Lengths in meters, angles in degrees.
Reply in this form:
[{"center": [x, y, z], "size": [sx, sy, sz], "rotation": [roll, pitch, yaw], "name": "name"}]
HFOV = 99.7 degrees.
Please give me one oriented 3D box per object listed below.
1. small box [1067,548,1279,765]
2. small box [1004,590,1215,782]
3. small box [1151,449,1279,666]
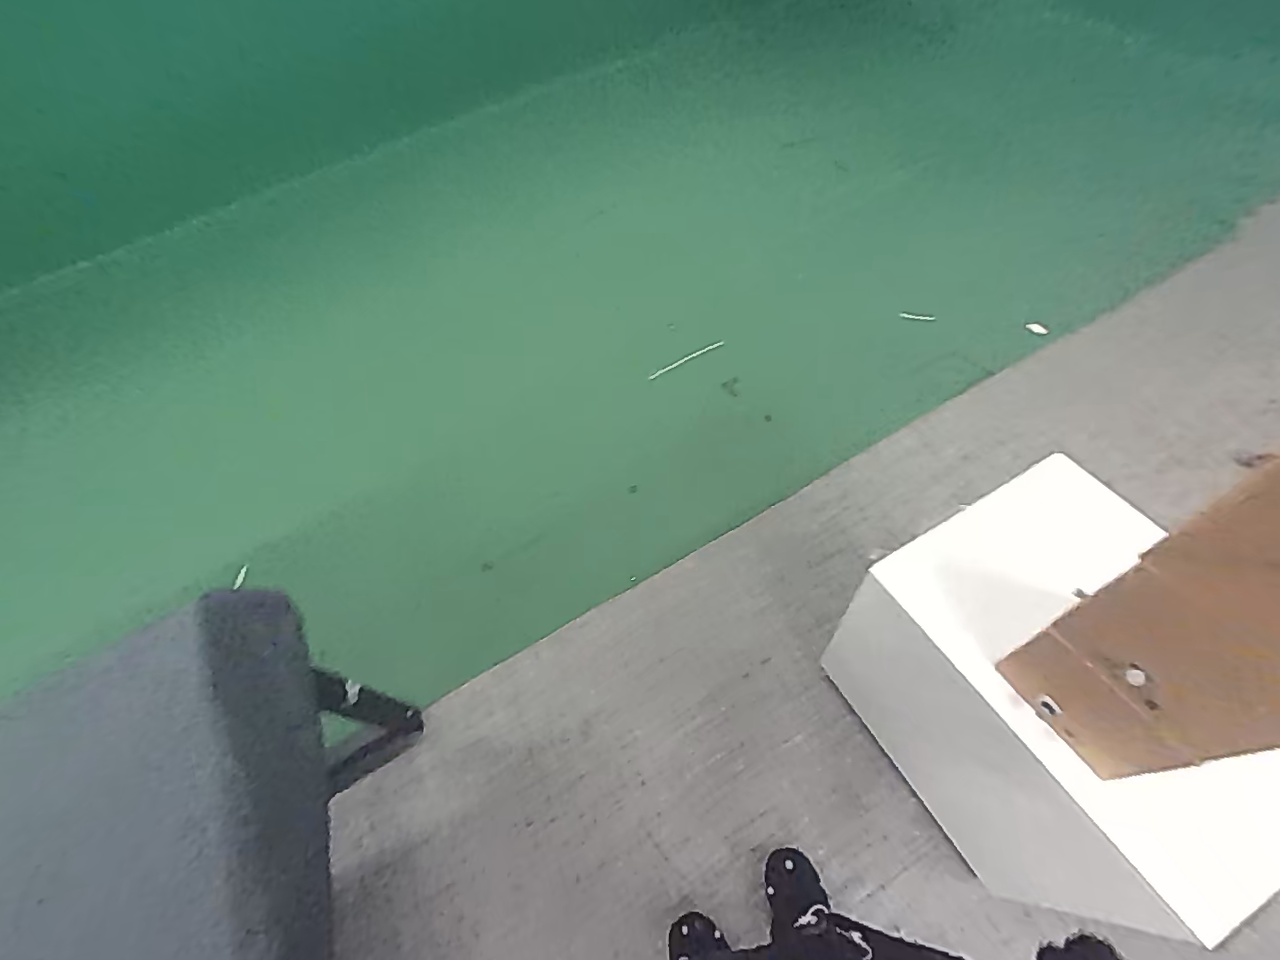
[{"center": [0.558, 0.133, 0.501], "size": [0.179, 0.176, 0.168], "rotation": [-30, 57, -12], "name": "small box"}, {"center": [0.580, 0.225, 0.635], "size": [0.179, 0.176, 0.168], "rotation": [-30, 56, -9], "name": "small box"}, {"center": [0.526, 0.043, 0.367], "size": [0.168, 0.176, 0.179], "rotation": [-31, 56, -10], "name": "small box"}]
